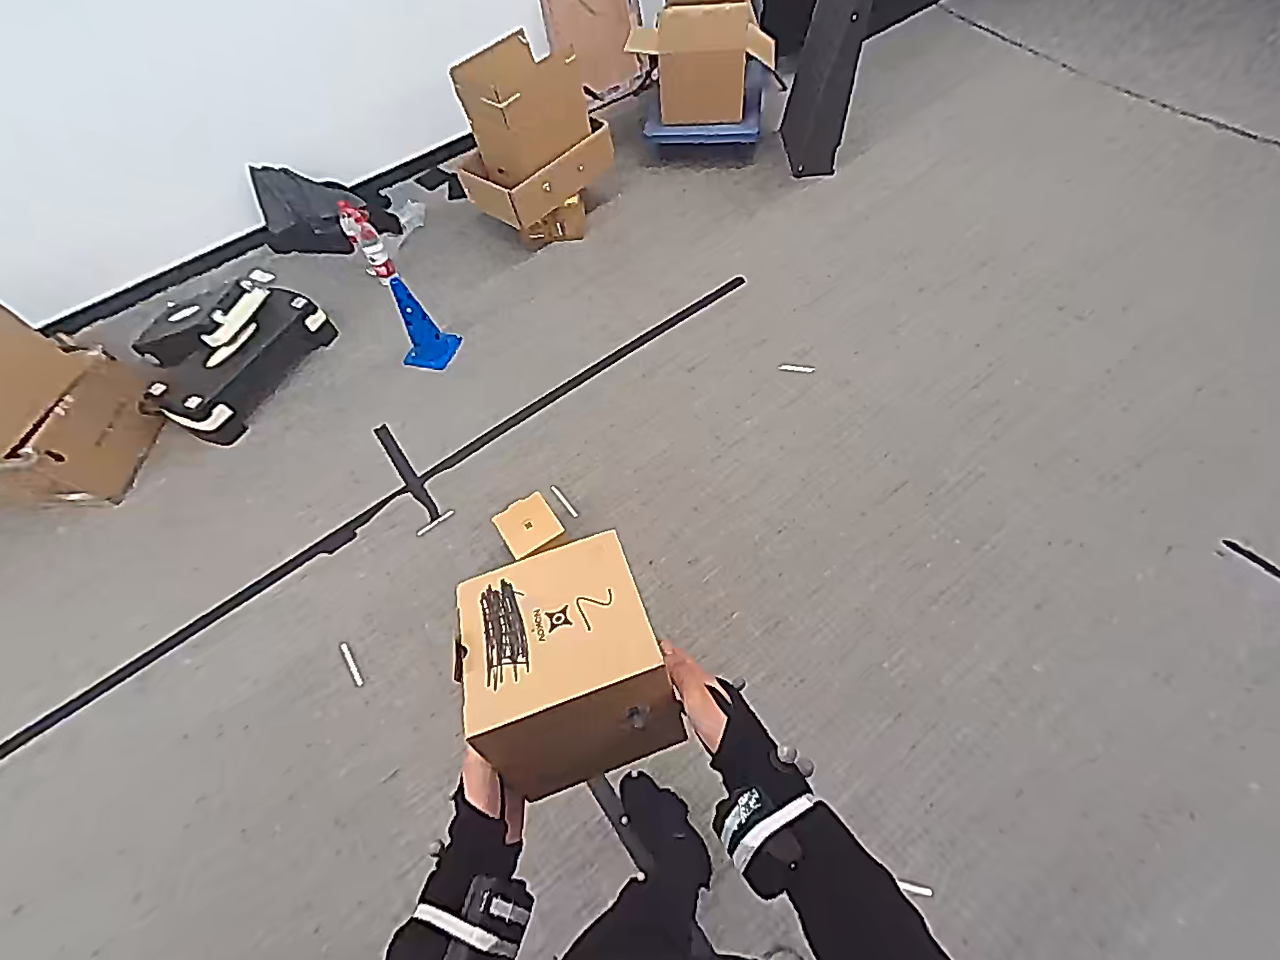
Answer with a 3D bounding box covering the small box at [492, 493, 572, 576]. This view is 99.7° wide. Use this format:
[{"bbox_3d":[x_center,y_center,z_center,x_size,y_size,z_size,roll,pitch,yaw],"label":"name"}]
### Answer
[{"bbox_3d":[-0.330,0.180,1.690,0.168,0.176,0.179,-31,60,-14],"label":"small box"}]
